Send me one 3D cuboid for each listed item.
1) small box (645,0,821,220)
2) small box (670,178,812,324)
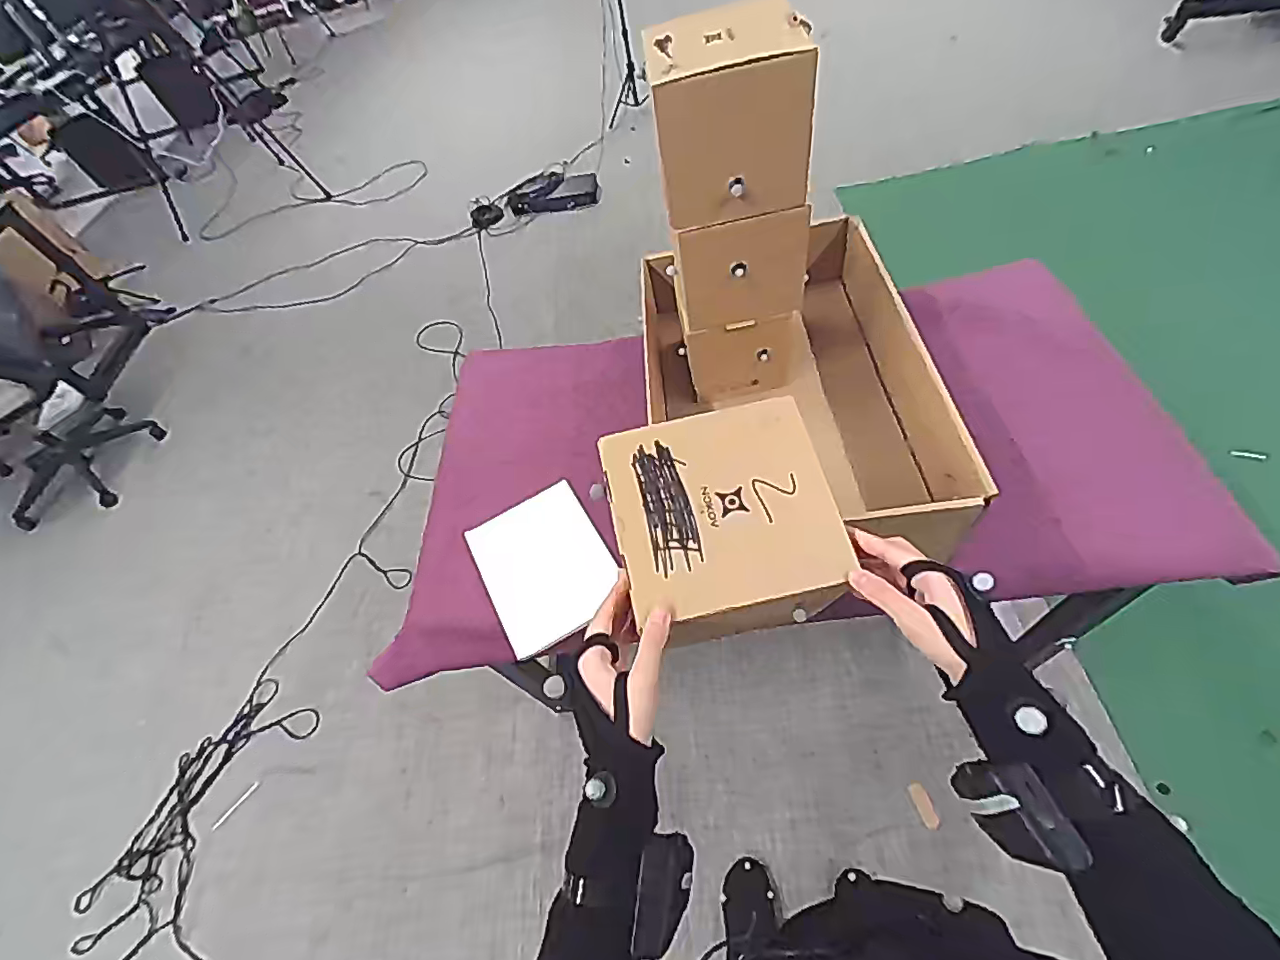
[{"bbox_3d":[0.106,-0.451,0.664,0.179,0.176,0.168,-8,55,6],"label":"small box"},{"bbox_3d":[0.138,-0.359,0.796,0.179,0.176,0.168,-10,55,6],"label":"small box"}]
